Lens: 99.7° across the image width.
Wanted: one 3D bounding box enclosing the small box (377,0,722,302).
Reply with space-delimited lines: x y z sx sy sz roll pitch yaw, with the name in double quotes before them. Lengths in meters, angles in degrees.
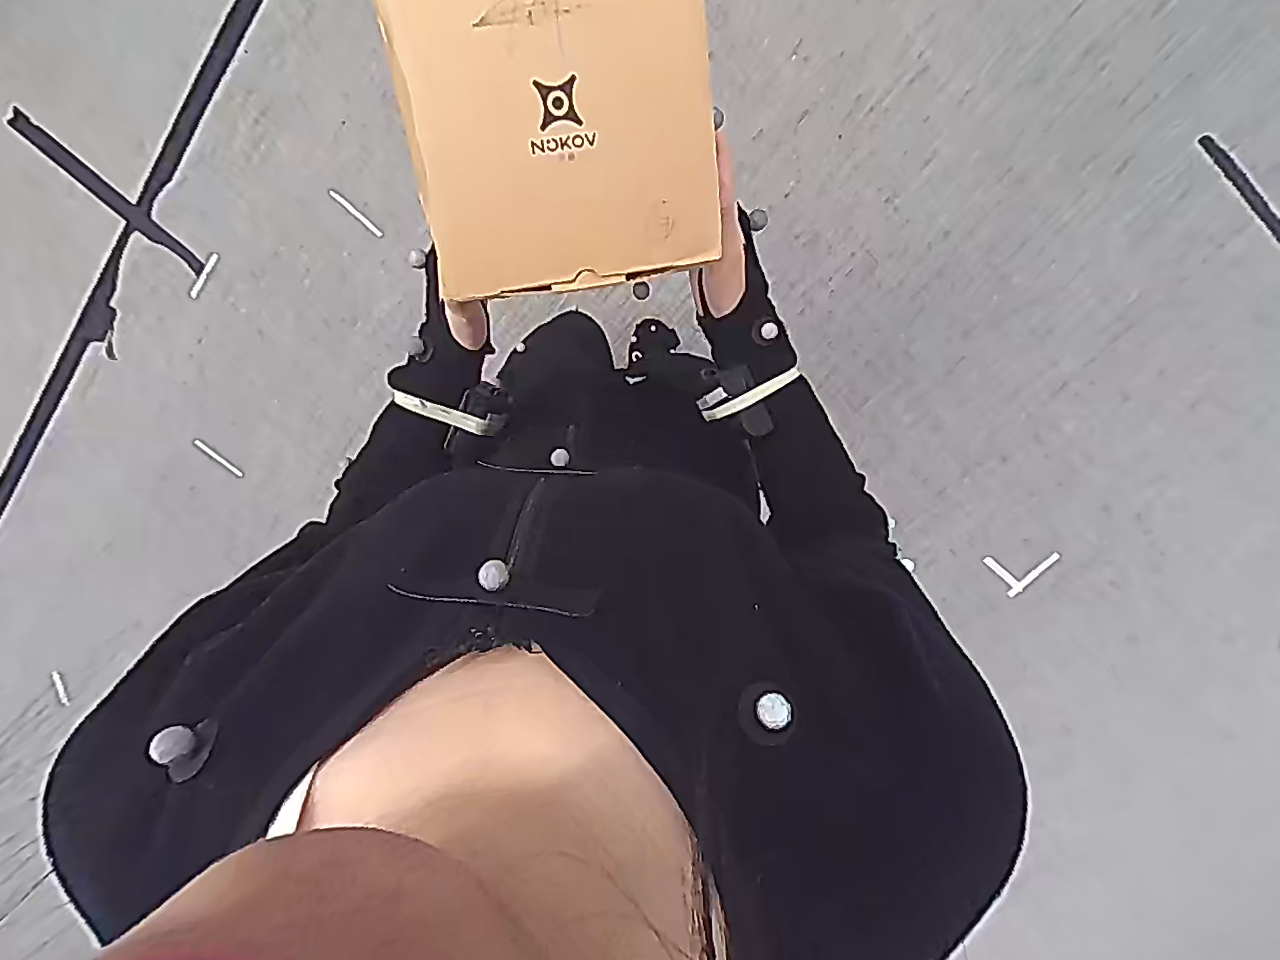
"small box" -0.048 -0.223 0.362 0.168 0.176 0.179 -10 109 -2
